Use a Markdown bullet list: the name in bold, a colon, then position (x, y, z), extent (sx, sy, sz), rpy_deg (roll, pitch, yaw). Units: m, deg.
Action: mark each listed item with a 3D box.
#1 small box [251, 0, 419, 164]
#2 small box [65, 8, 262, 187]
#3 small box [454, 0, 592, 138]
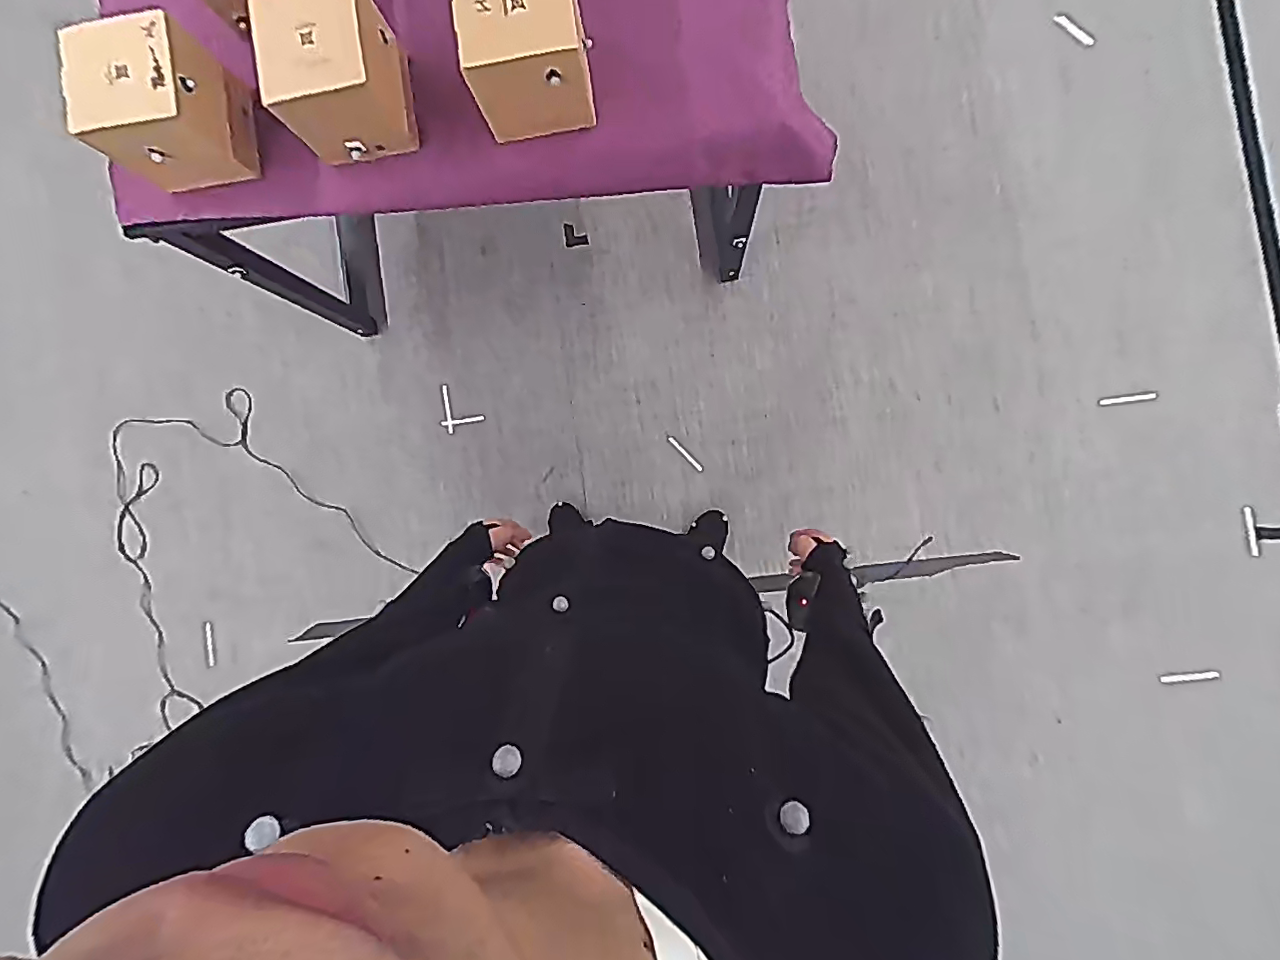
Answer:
- **small box**: position (-0.482, -0.654, 0.876), extent (0.168, 0.176, 0.179), rpy_deg (-8, 90, 5)
- **small box**: position (-0.774, -0.615, 0.893), extent (0.179, 0.176, 0.168), rpy_deg (-7, 89, 4)
- **small box**: position (-0.175, -0.679, 0.851), extent (0.179, 0.176, 0.168), rpy_deg (-8, 88, 4)
